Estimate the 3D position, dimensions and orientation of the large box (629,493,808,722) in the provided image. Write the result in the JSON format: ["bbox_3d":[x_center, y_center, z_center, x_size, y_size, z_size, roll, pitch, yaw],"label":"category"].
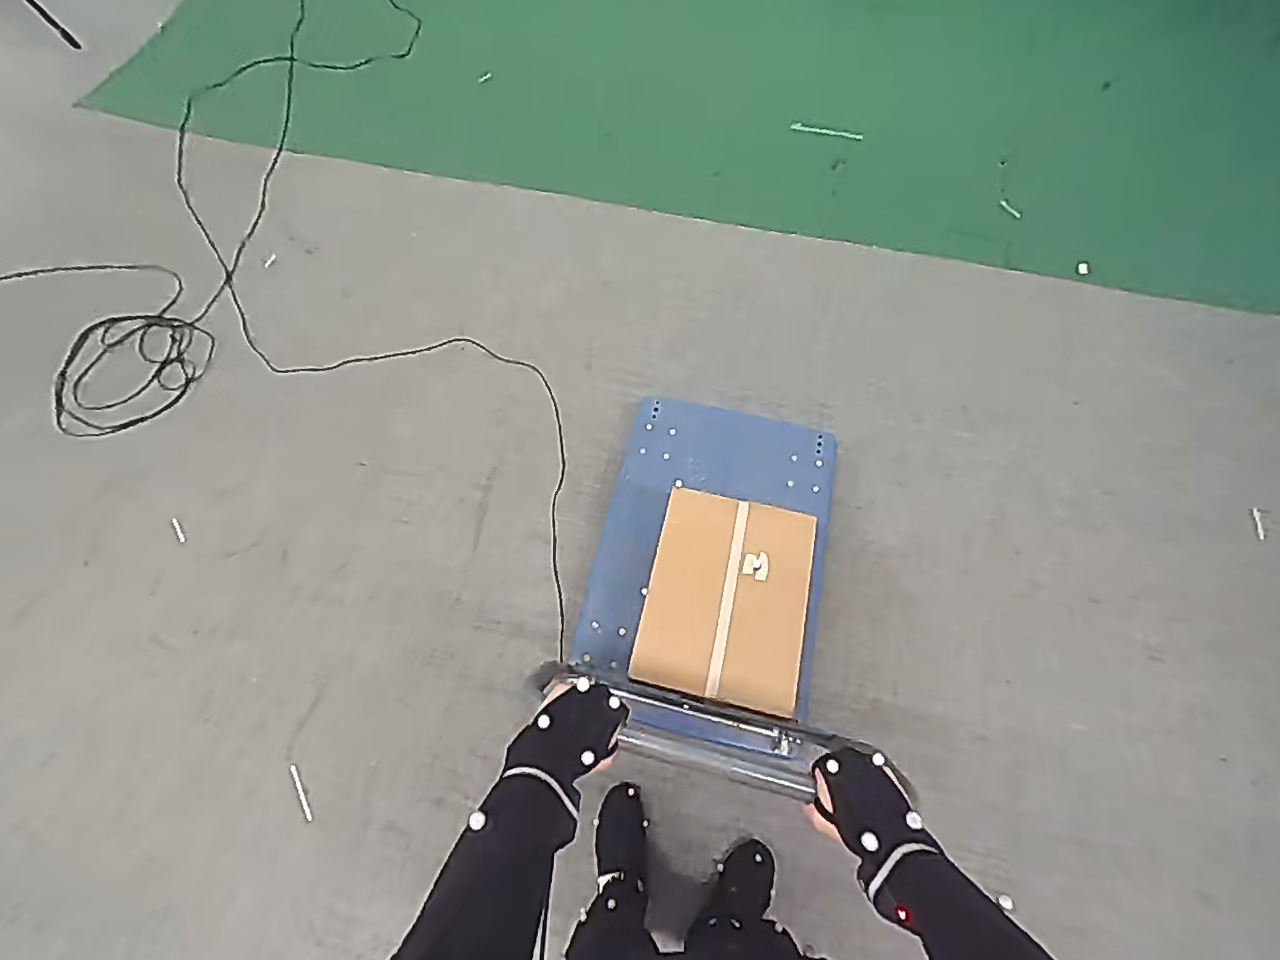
[{"bbox_3d":[0.168,0.297,1.216,0.320,0.320,0.408,12,65,5],"label":"large box"}]
